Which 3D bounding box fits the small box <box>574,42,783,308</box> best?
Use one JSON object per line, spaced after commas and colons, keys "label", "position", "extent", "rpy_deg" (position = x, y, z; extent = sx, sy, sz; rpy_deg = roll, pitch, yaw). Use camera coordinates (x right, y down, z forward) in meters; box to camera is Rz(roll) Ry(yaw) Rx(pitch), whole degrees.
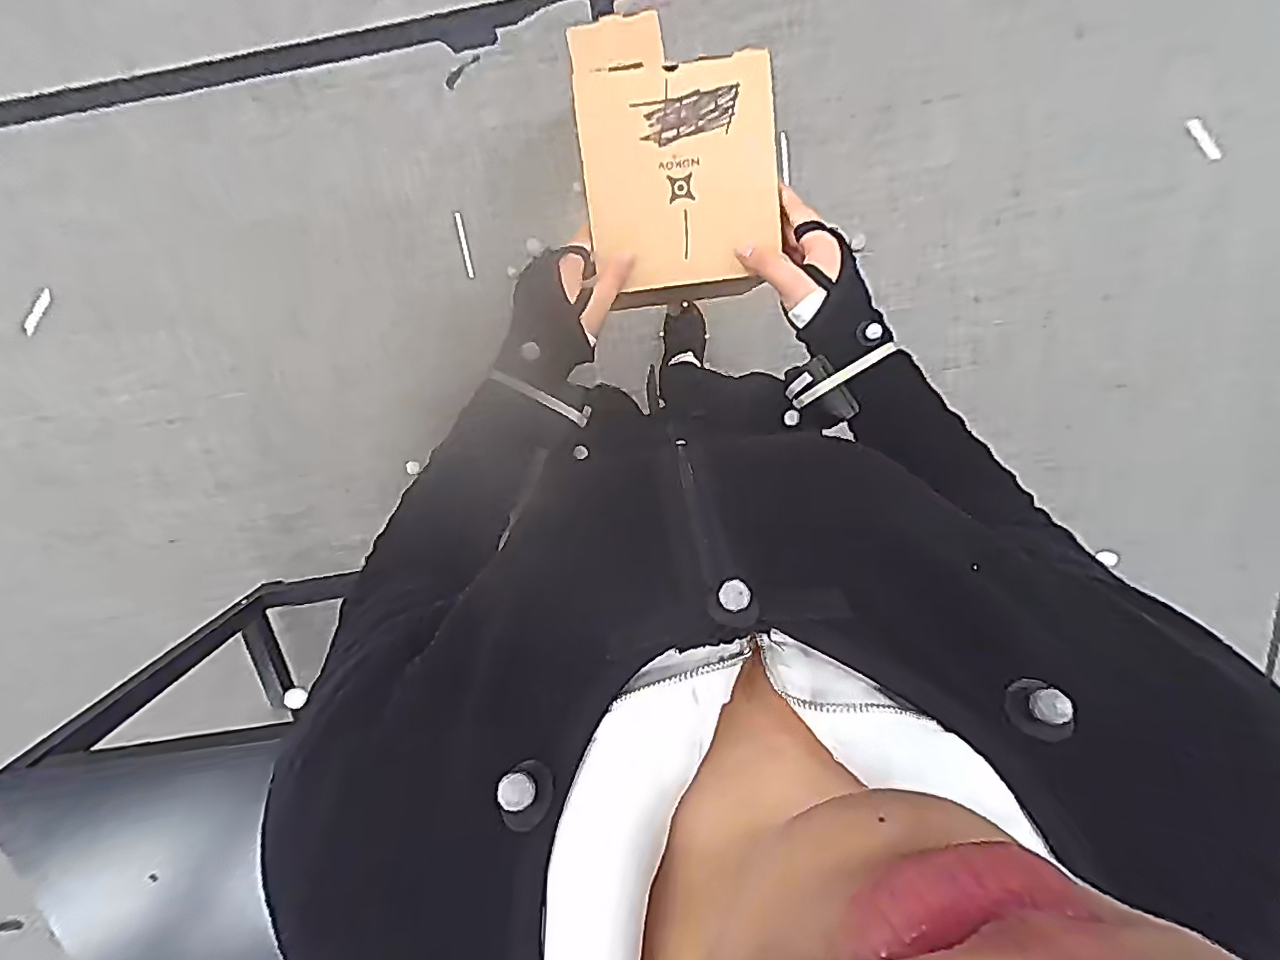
{"label": "small box", "position": [0.032, -0.279, 0.535], "extent": [0.168, 0.176, 0.179], "rpy_deg": [-7, 102, 1]}

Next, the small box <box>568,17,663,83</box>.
{"label": "small box", "position": [-0.036, -0.734, 1.045], "extent": [0.168, 0.176, 0.179], "rpy_deg": [-11, 105, 2]}
